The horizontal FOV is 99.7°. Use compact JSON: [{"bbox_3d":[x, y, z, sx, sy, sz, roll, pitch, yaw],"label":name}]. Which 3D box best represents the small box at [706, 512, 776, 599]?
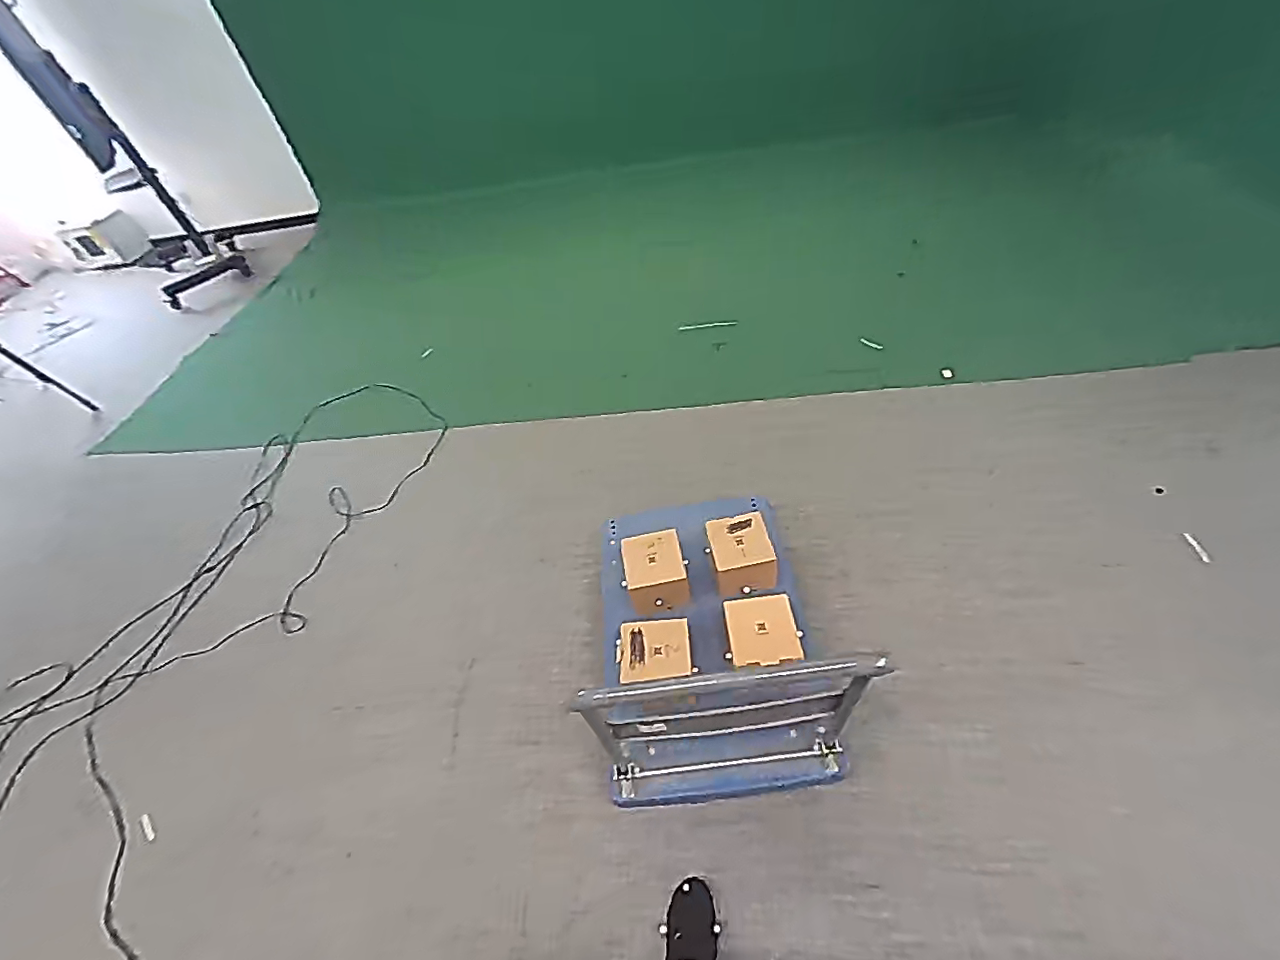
[{"bbox_3d":[0.296,0.226,1.602,0.168,0.176,0.179,-12,48,2],"label":"small box"}]

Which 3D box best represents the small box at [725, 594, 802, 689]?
[{"bbox_3d":[0.317,0.425,1.420,0.168,0.176,0.179,-8,48,4],"label":"small box"}]

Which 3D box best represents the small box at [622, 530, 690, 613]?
[{"bbox_3d":[0.049,0.278,1.604,0.168,0.176,0.179,-11,47,0],"label":"small box"}]
